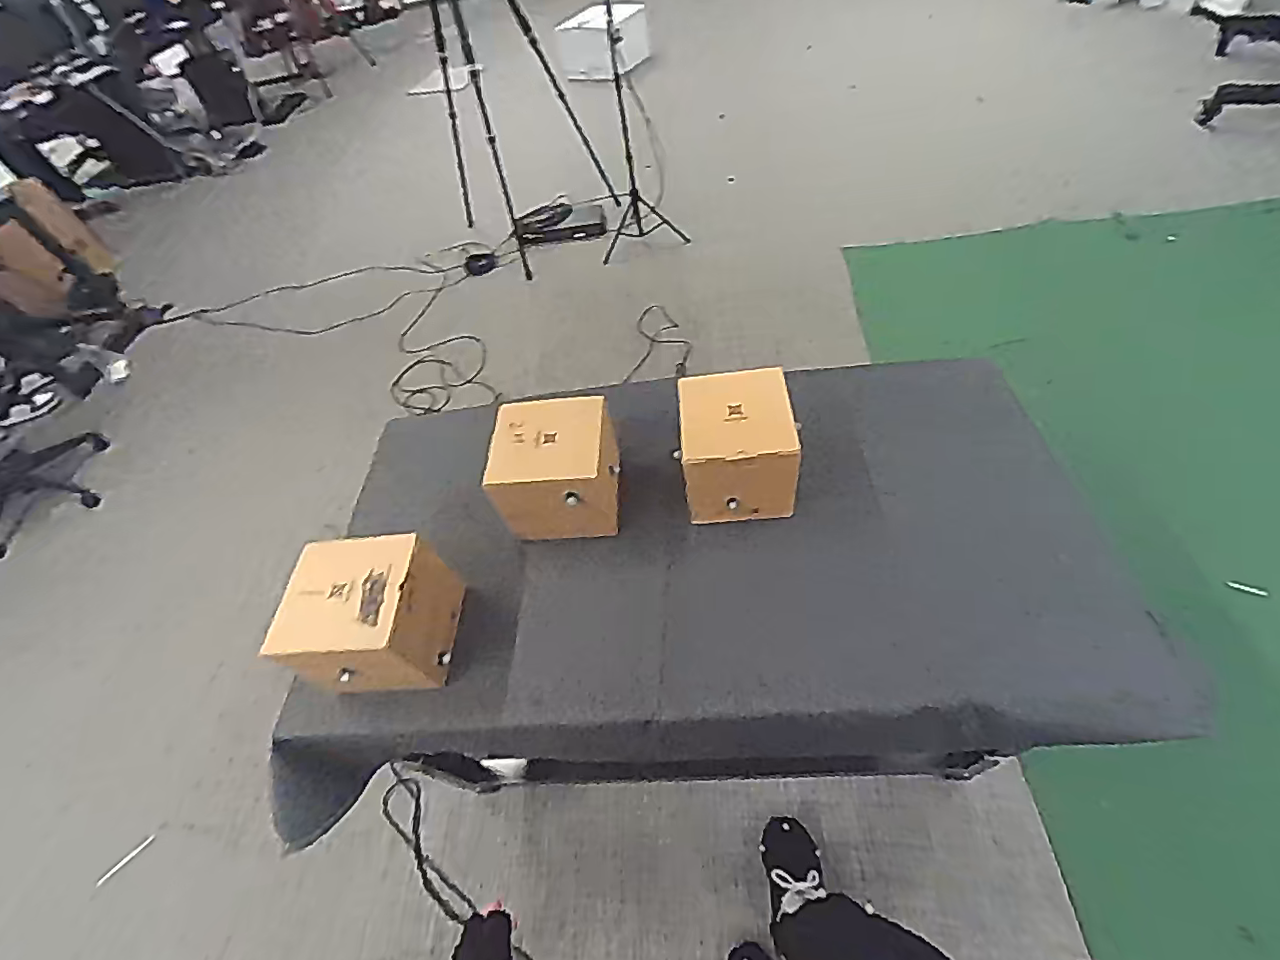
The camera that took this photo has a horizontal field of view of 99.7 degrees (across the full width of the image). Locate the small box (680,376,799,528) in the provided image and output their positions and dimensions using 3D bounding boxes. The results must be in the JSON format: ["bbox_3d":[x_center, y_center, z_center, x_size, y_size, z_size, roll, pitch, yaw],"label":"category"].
[{"bbox_3d":[0.153,-0.042,0.875,0.168,0.176,0.179,-5,53,6],"label":"small box"}]

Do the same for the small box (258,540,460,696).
[{"bbox_3d":[-0.383,0.202,0.779,0.179,0.176,0.168,-5,52,7],"label":"small box"}]

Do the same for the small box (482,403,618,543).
[{"bbox_3d":[-0.134,-0.007,0.894,0.179,0.176,0.168,-3,53,7],"label":"small box"}]
